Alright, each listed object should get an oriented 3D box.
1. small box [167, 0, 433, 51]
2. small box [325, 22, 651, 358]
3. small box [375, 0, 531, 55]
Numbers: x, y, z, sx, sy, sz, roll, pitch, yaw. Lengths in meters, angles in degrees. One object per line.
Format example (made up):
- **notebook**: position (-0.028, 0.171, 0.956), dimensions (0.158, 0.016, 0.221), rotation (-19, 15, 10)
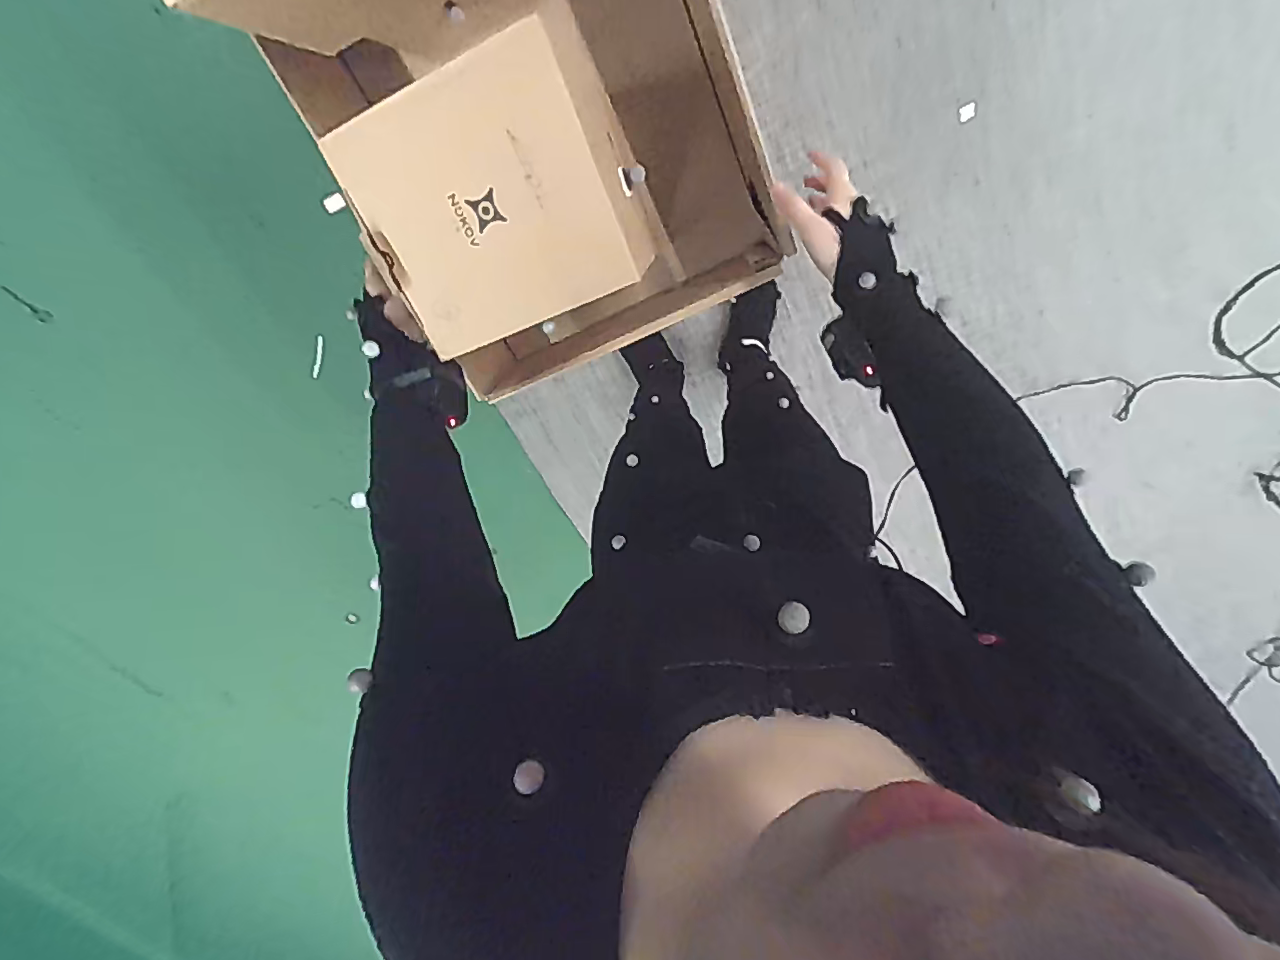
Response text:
- **small box**: position (-0.233, -0.424, 0.356), dimensions (0.179, 0.176, 0.168), rotation (-15, 117, 14)
- **small box**: position (-0.102, -0.227, 0.453), dimensions (0.179, 0.176, 0.168), rotation (-18, 116, 15)
- **small box**: position (-0.193, -0.521, 0.484), dimensions (0.179, 0.176, 0.168), rotation (-18, 118, 16)
